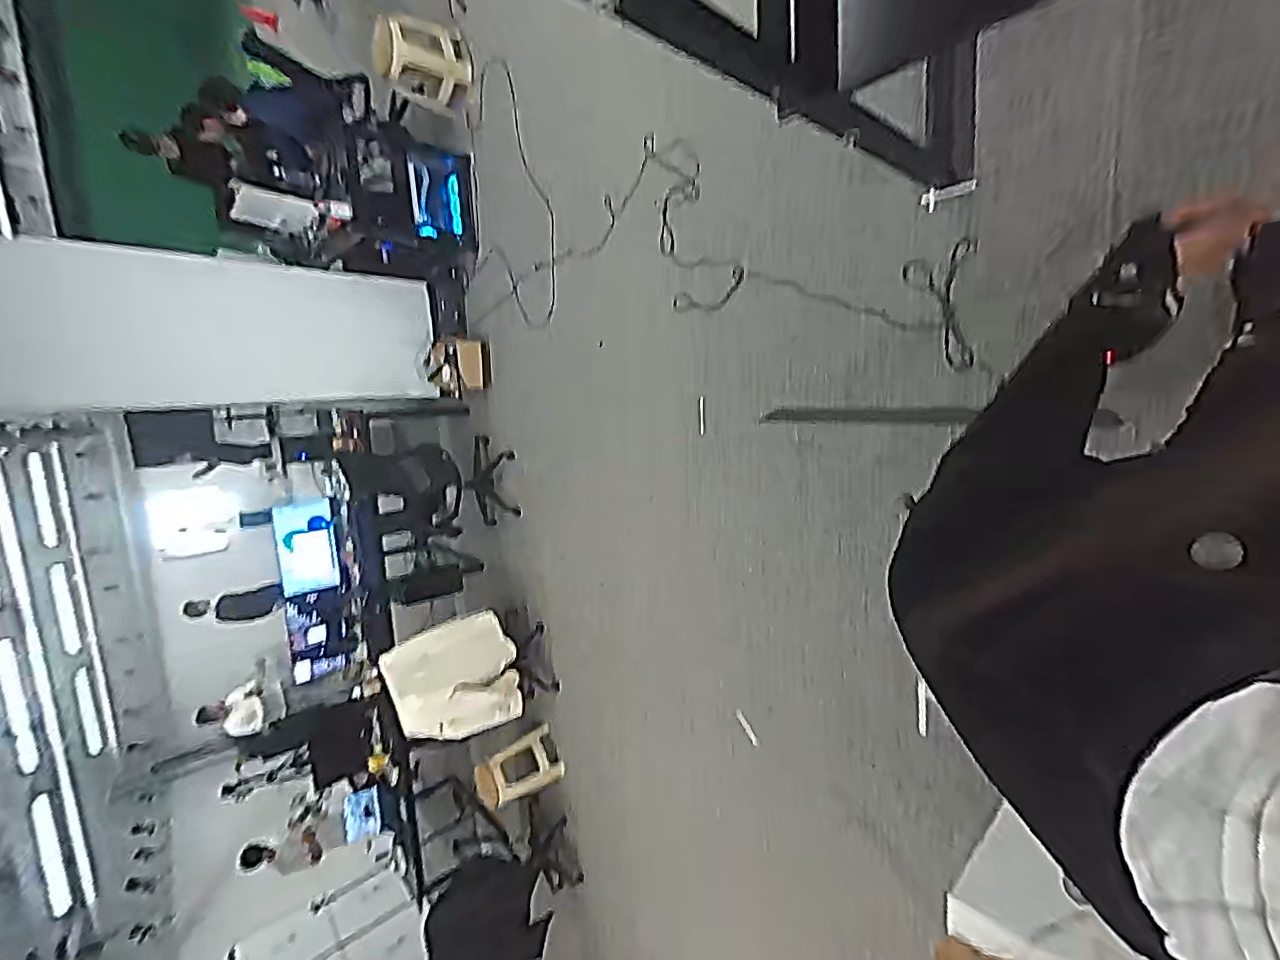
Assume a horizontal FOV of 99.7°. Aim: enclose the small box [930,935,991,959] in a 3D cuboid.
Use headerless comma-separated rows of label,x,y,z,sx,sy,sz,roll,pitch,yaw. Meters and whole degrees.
small box,0.632,1.033,1.015,0.168,0.176,0.179,2,100,47
